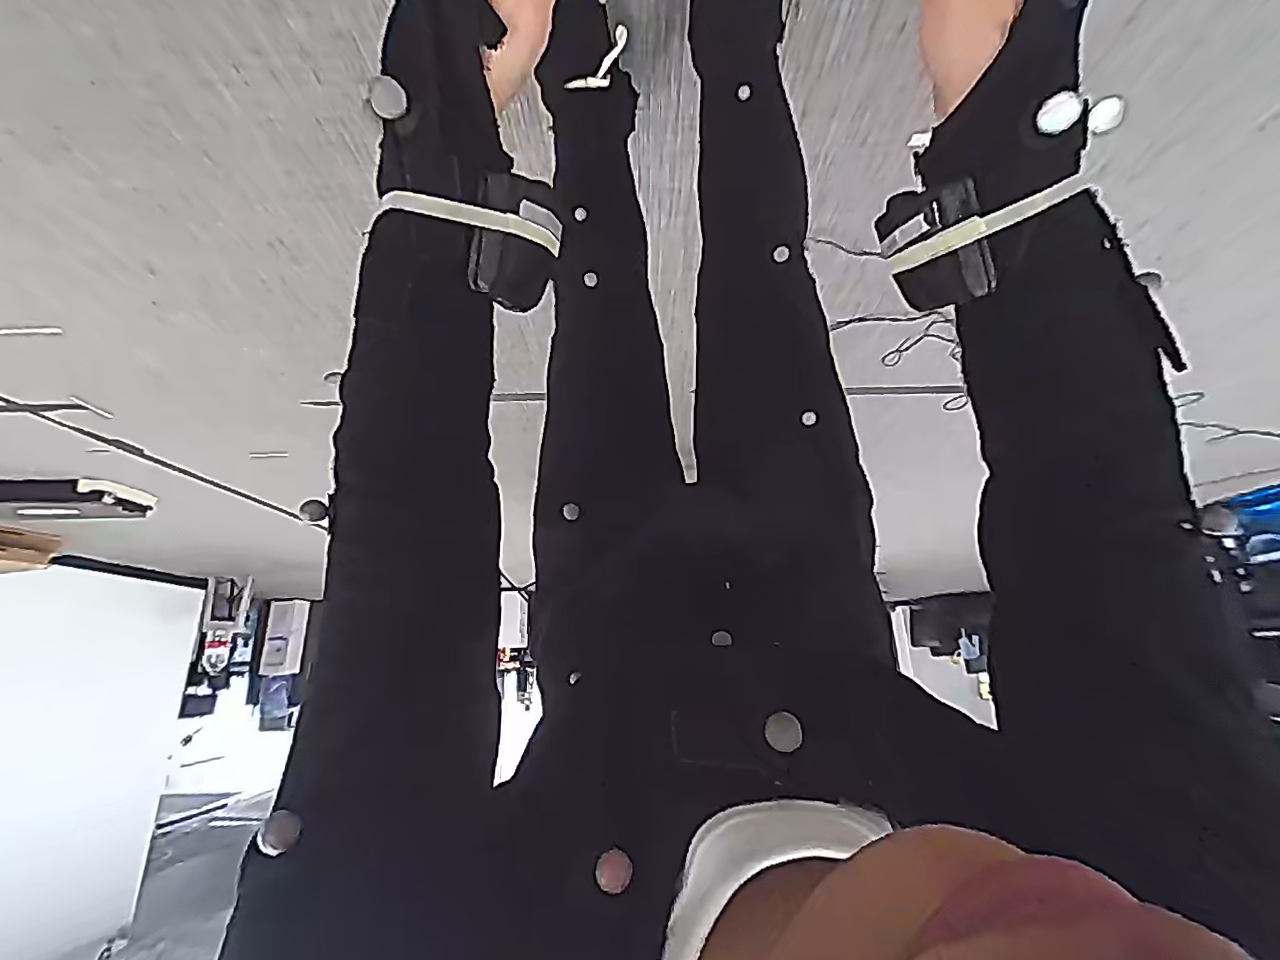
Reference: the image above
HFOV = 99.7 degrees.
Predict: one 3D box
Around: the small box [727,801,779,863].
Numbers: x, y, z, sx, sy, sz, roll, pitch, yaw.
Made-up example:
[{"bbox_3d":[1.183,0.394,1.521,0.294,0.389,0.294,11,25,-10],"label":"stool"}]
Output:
[{"bbox_3d":[0.443,1.395,2.149,0.168,0.176,0.179,0,162,-2],"label":"small box"}]
